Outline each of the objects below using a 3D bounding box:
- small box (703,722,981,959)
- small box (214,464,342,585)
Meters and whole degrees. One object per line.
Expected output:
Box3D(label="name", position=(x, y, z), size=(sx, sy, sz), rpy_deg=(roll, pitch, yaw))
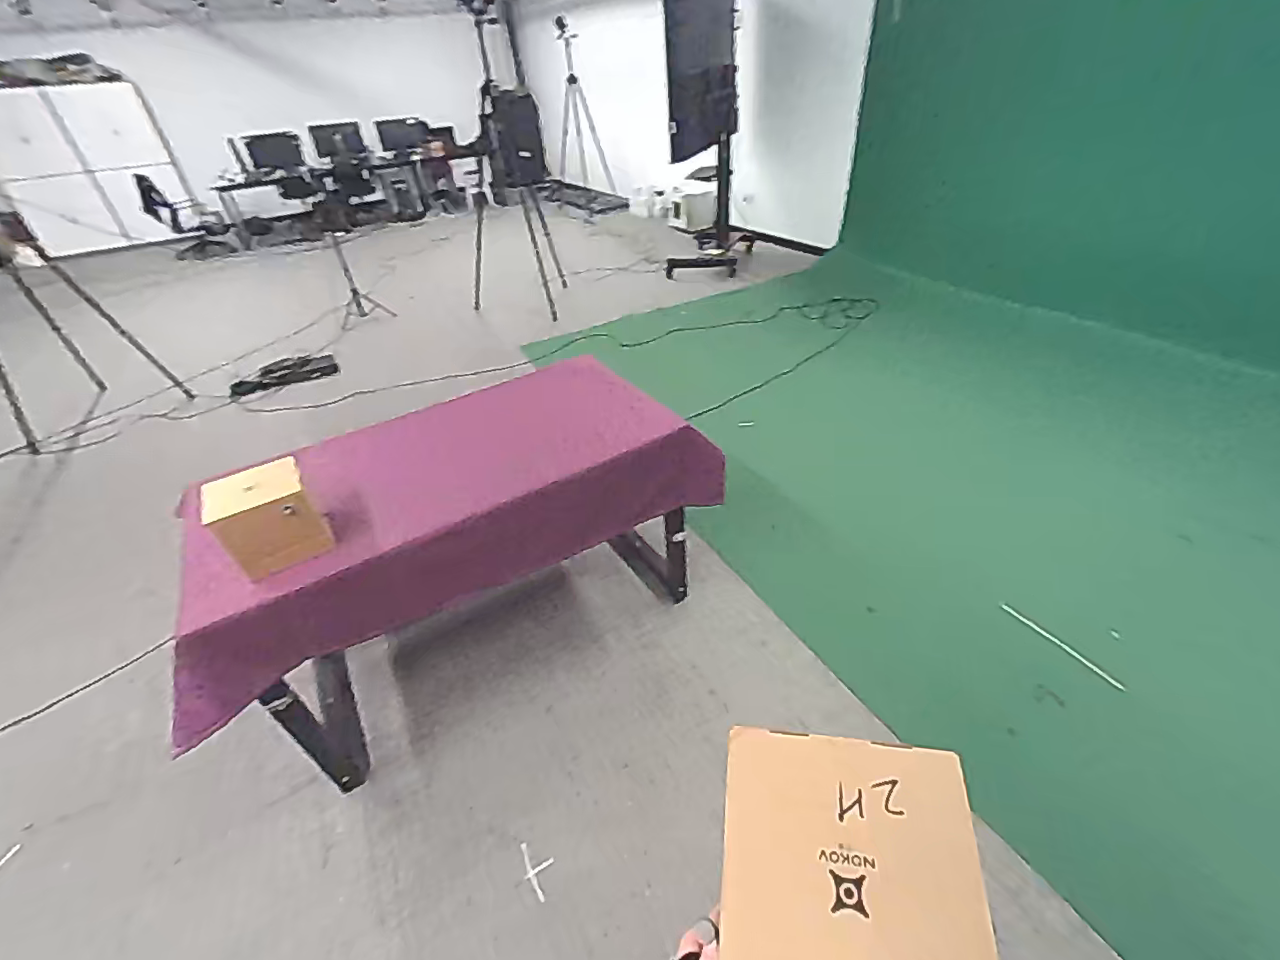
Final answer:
Box3D(label="small box", position=(0.140, 0.310, 0.418), size=(0.168, 0.176, 0.179), rpy_deg=(1, 51, 11))
Box3D(label="small box", position=(-0.784, 0.097, 1.177), size=(0.179, 0.176, 0.168), rpy_deg=(-25, 40, -24))
